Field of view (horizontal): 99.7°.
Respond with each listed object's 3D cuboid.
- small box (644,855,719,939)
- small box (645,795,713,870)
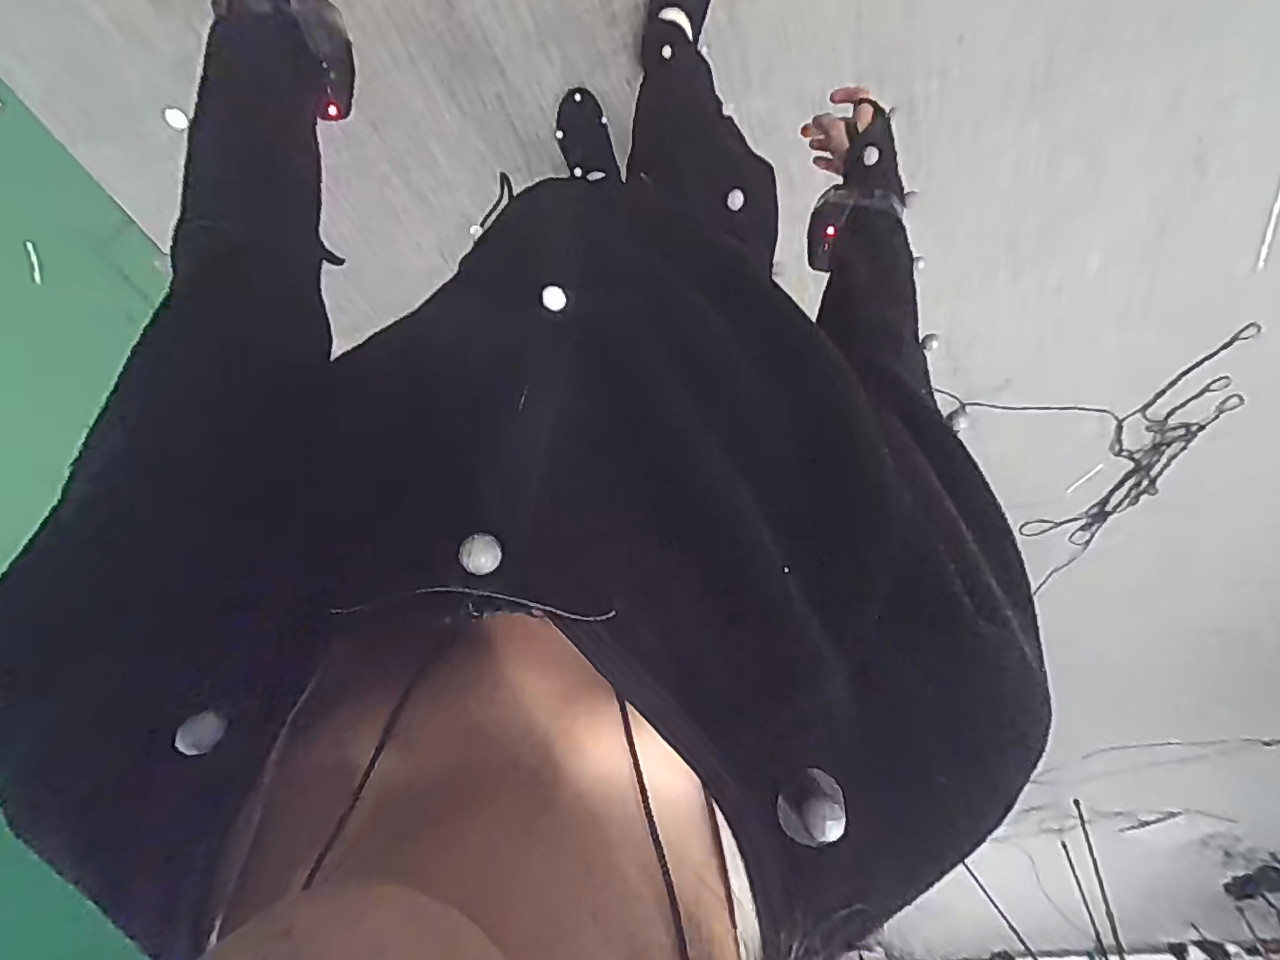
[{"bbox_3d":[0.119,1.228,1.594,0.179,0.176,0.168,-18,129,16],"label":"small box"},{"bbox_3d":[0.125,1.132,1.728,0.179,0.176,0.168,-17,130,15],"label":"small box"}]
